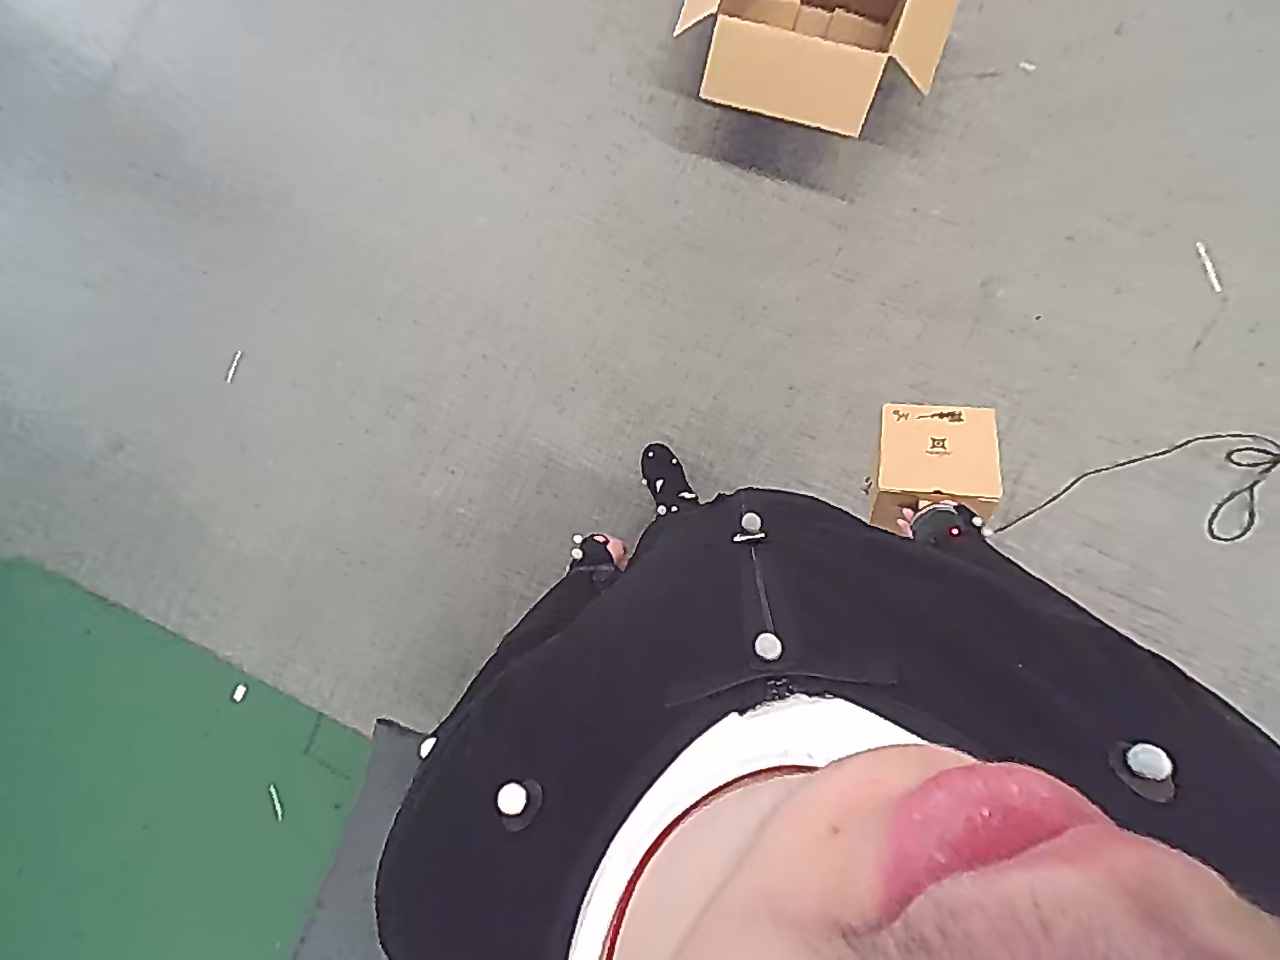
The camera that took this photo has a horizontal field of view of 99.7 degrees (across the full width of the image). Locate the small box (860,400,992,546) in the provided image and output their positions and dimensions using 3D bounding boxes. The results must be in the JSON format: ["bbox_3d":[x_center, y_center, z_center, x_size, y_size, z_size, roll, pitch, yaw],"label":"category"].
[{"bbox_3d":[0.466,-0.009,0.899,0.168,0.176,0.179,7,58,19],"label":"small box"}]
